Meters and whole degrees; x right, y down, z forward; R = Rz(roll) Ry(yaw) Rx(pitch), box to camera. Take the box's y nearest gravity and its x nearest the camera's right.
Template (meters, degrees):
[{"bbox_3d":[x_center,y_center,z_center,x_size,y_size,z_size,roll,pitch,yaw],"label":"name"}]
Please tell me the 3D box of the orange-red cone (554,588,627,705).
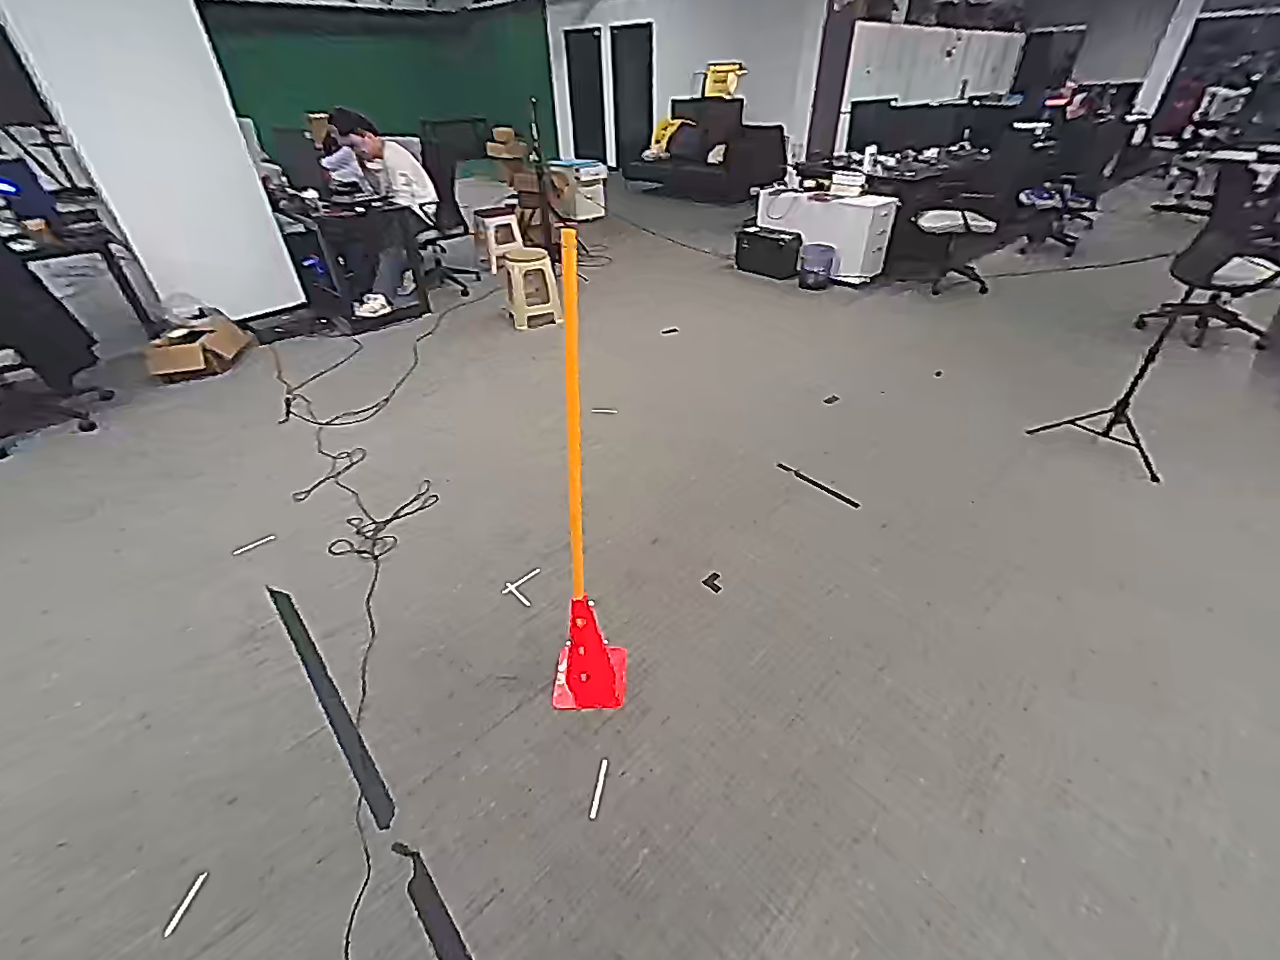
[{"bbox_3d":[-0.146,0.424,1.462,0.198,0.360,0.199,0,38,4],"label":"orange-red cone"}]
